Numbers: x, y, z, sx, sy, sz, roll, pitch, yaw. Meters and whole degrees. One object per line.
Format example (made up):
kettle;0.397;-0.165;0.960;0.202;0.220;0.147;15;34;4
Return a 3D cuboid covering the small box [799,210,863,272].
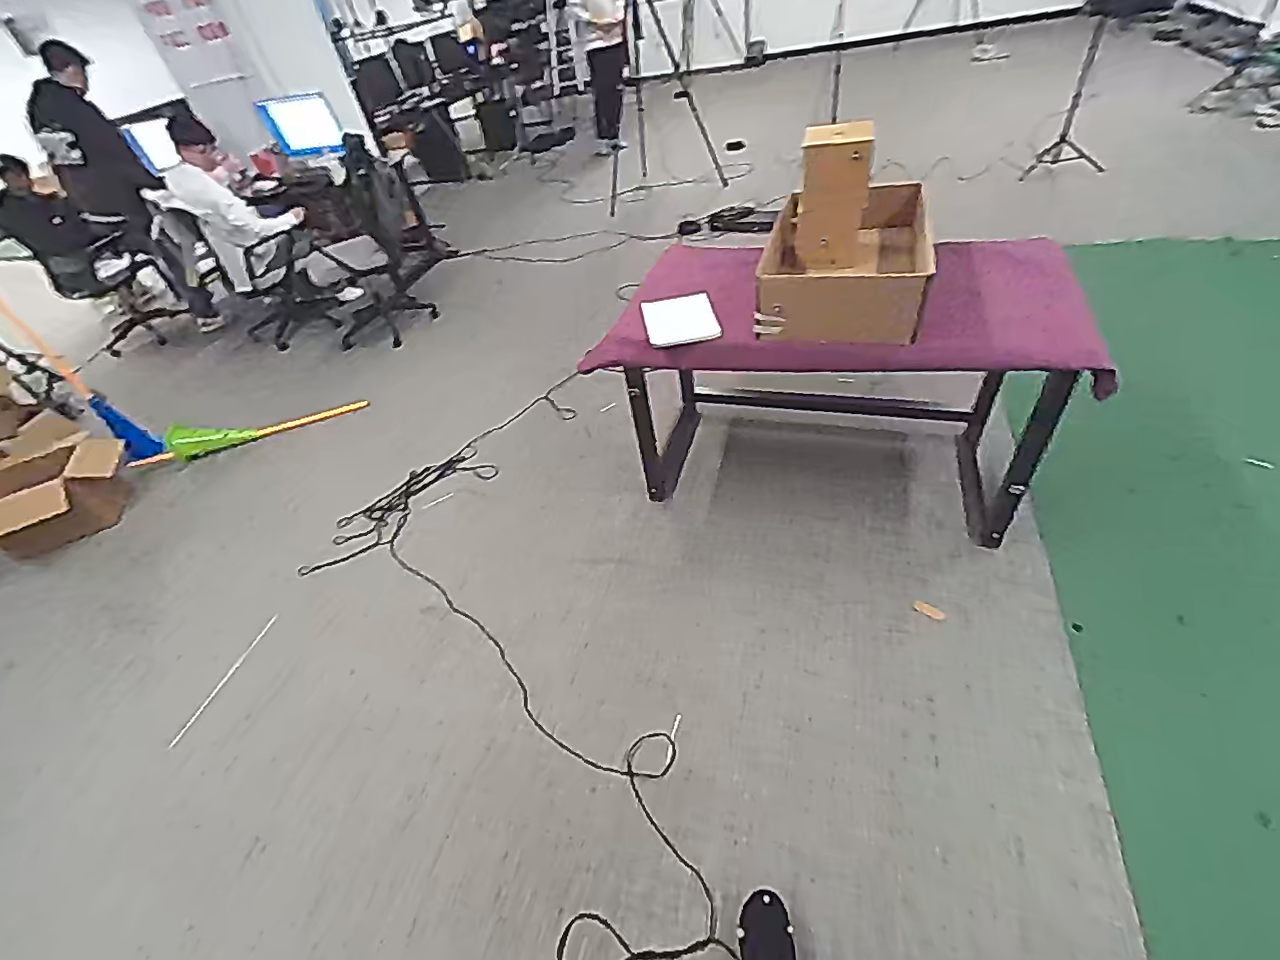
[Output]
small box;0.565;-0.728;1.595;0.168;0.176;0.179;7;48;20

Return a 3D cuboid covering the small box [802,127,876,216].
small box;0.543;-0.838;1.479;0.179;0.176;0.168;6;47;18
